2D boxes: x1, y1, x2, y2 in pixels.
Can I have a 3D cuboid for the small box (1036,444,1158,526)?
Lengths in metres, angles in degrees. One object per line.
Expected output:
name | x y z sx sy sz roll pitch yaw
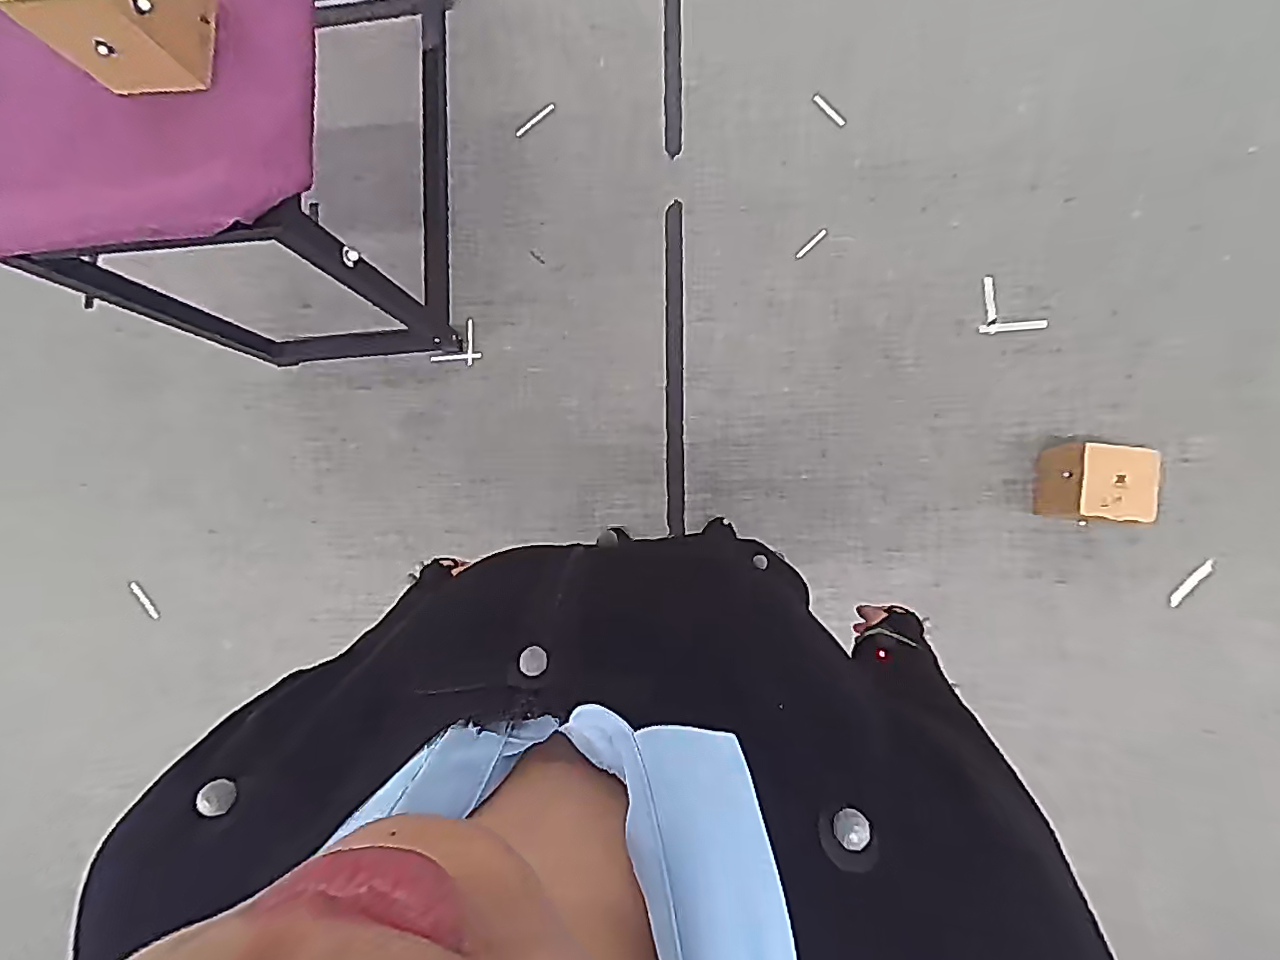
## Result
small box | 1.122 0.016 1.340 0.168 0.176 0.179 8 87 6
